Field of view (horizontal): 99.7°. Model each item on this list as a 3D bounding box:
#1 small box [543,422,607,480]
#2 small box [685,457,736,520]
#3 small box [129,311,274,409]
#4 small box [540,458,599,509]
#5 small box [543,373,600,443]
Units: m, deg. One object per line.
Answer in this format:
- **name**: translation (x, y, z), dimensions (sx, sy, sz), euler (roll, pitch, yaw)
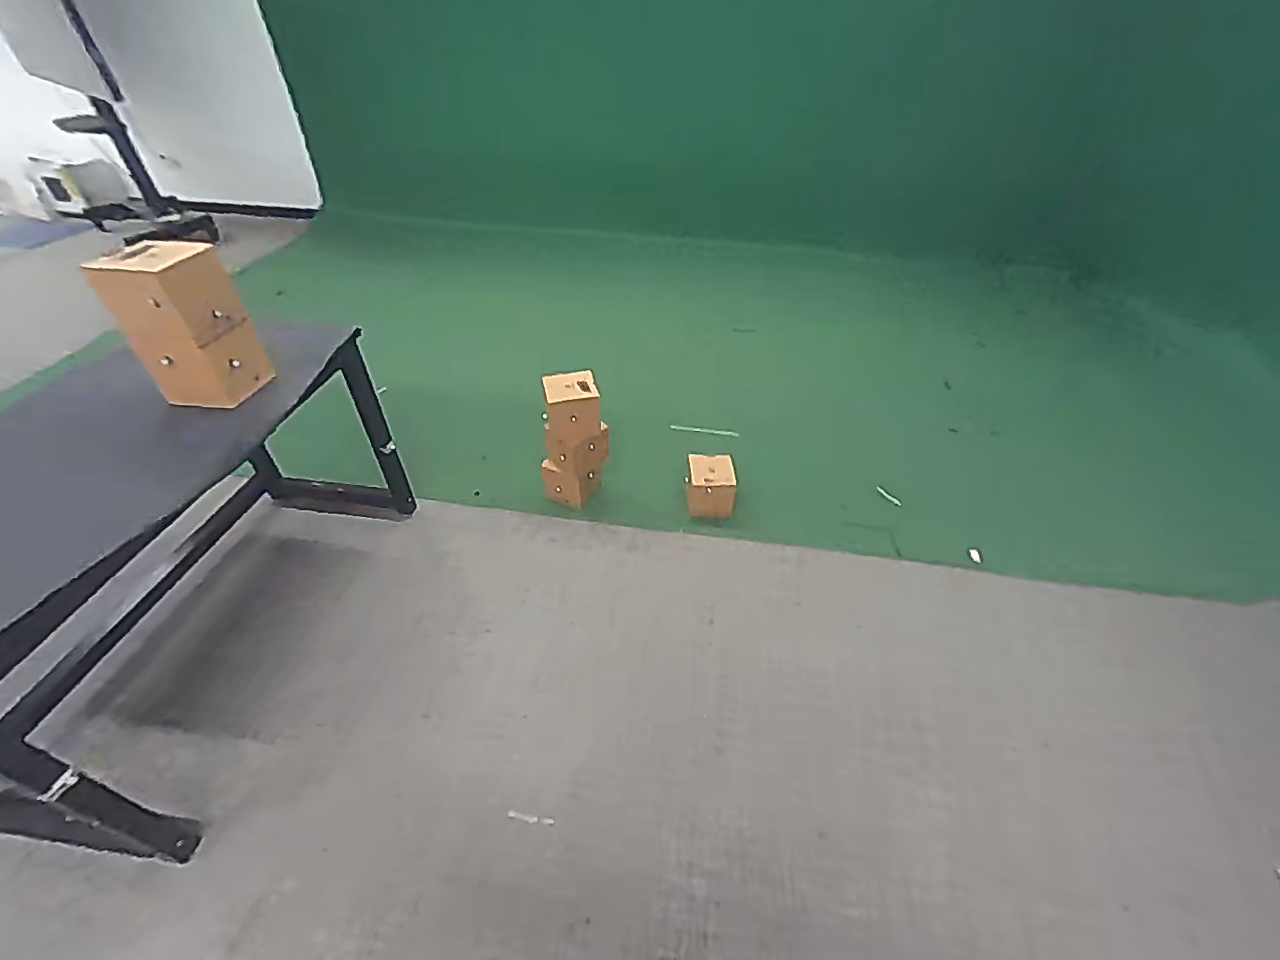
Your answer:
- **small box**: translation (-0.234, -0.127, 1.996), dimensions (0.179, 0.176, 0.168), euler (-32, 53, -32)
- **small box**: translation (0.265, 0.031, 2.080), dimensions (0.168, 0.176, 0.179), euler (1, 41, -2)
- **small box**: translation (-1.034, -0.286, 1.297), dimensions (0.179, 0.176, 0.168), euler (6, 42, 6)
- **small box**: translation (-0.268, -0.014, 2.112), dimensions (0.168, 0.176, 0.179), euler (19, 44, 17)
- **small box**: translation (-0.239, -0.251, 1.887), dimensions (0.179, 0.176, 0.168), euler (-9, 44, -11)
